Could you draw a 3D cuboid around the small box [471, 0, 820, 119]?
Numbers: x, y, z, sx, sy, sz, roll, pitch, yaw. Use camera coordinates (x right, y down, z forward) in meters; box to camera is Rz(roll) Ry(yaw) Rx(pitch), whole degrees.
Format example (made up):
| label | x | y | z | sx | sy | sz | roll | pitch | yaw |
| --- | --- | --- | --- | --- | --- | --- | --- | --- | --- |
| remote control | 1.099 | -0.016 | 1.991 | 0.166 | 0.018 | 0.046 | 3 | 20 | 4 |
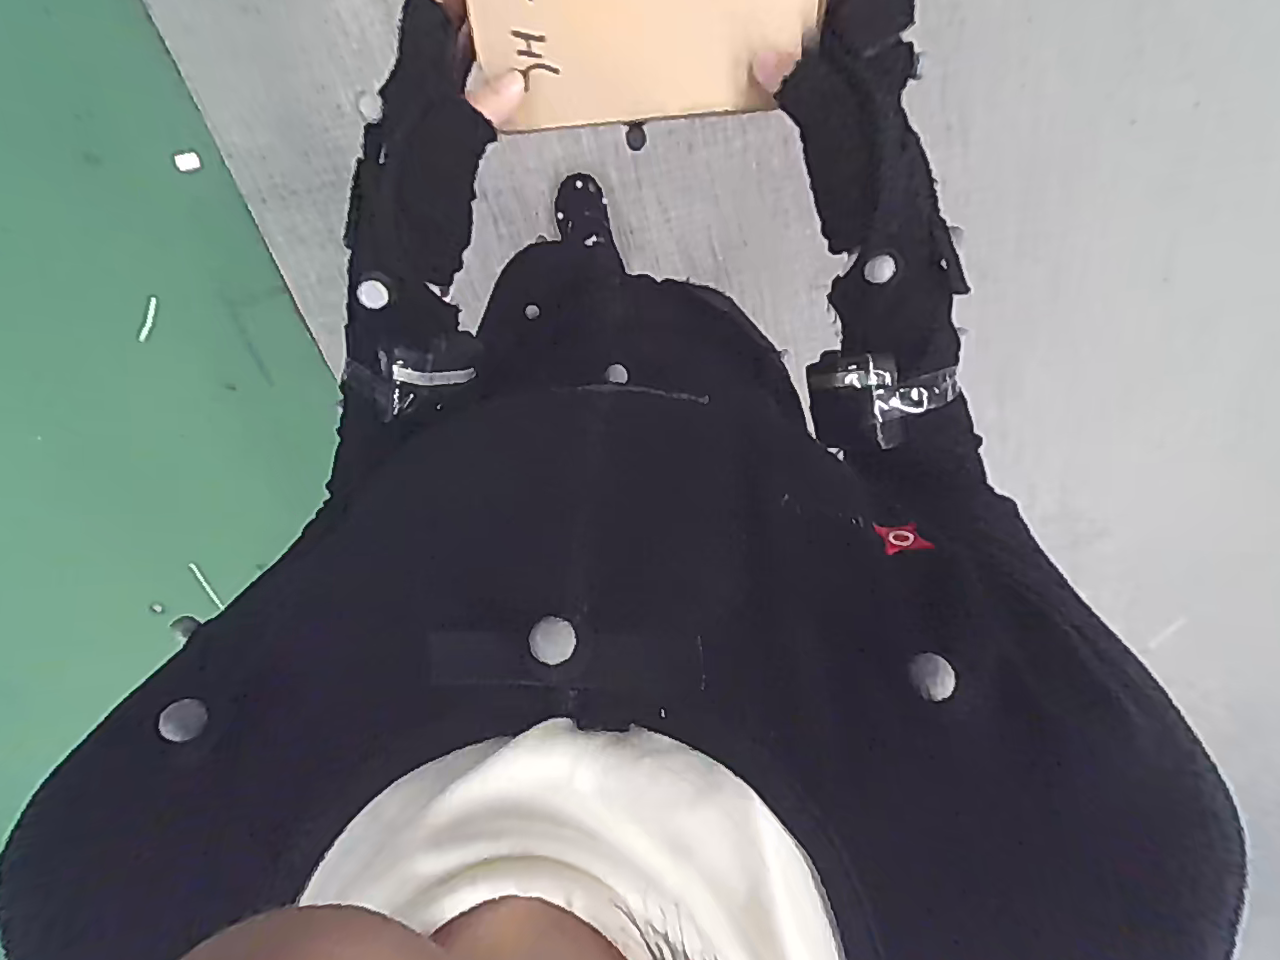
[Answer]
| label | x | y | z | sx | sy | sz | roll | pitch | yaw |
| --- | --- | --- | --- | --- | --- | --- | --- | --- | --- |
| small box | -0.006 | -0.311 | 0.309 | 0.179 | 0.176 | 0.168 | -6 | 123 | -3 |
